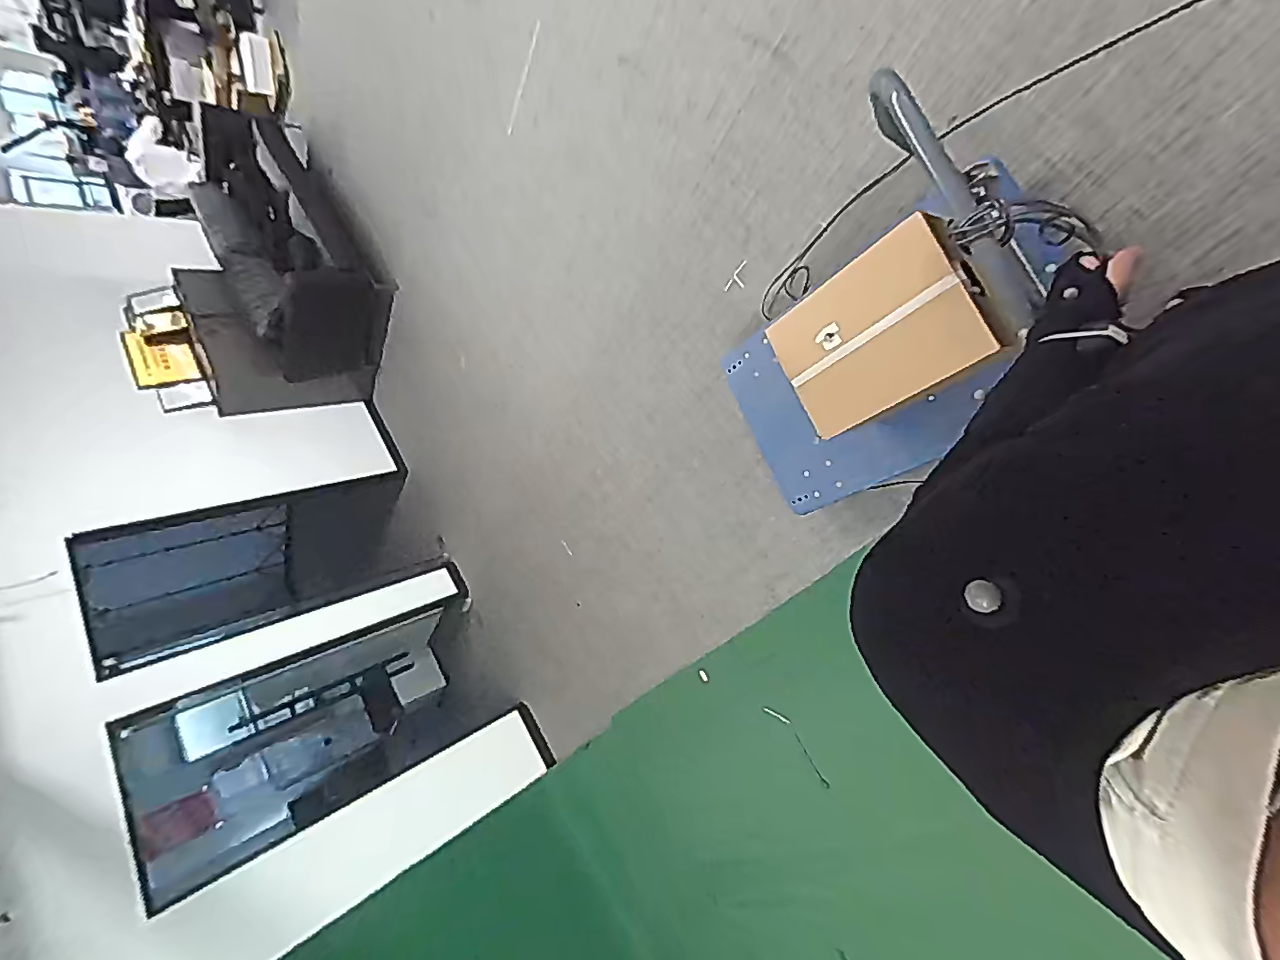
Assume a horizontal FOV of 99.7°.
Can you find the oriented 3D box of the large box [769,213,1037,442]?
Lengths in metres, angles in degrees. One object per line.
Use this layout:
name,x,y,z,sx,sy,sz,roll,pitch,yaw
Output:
large box,0.593,-0.335,1.247,0.408,0.320,0.320,-34,77,48
